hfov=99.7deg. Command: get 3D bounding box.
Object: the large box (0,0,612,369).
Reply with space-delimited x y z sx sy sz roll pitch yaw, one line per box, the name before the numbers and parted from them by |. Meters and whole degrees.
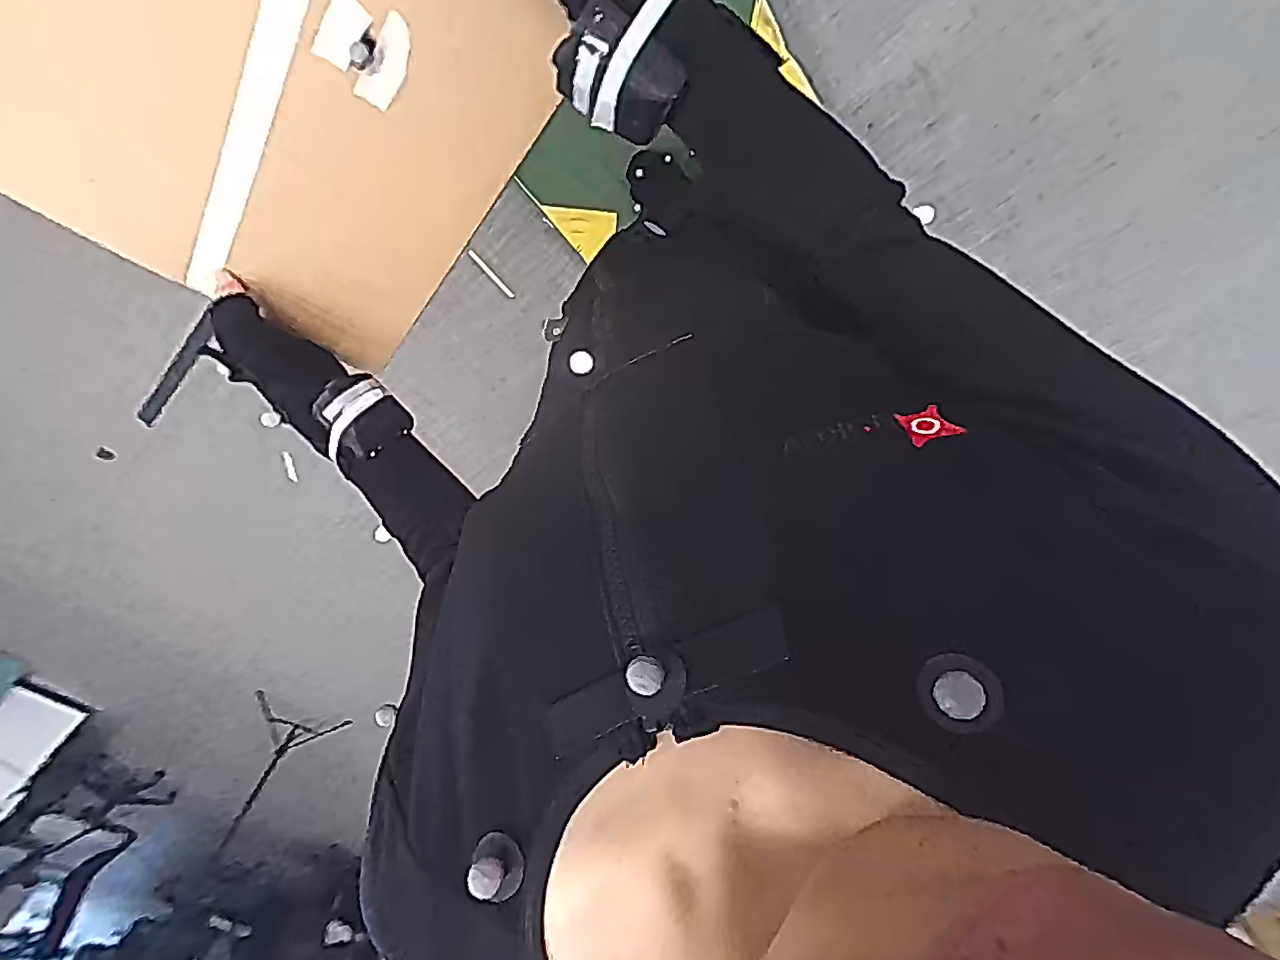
large box | -0.260 -0.388 0.474 0.320 0.320 0.408 28 131 -32
